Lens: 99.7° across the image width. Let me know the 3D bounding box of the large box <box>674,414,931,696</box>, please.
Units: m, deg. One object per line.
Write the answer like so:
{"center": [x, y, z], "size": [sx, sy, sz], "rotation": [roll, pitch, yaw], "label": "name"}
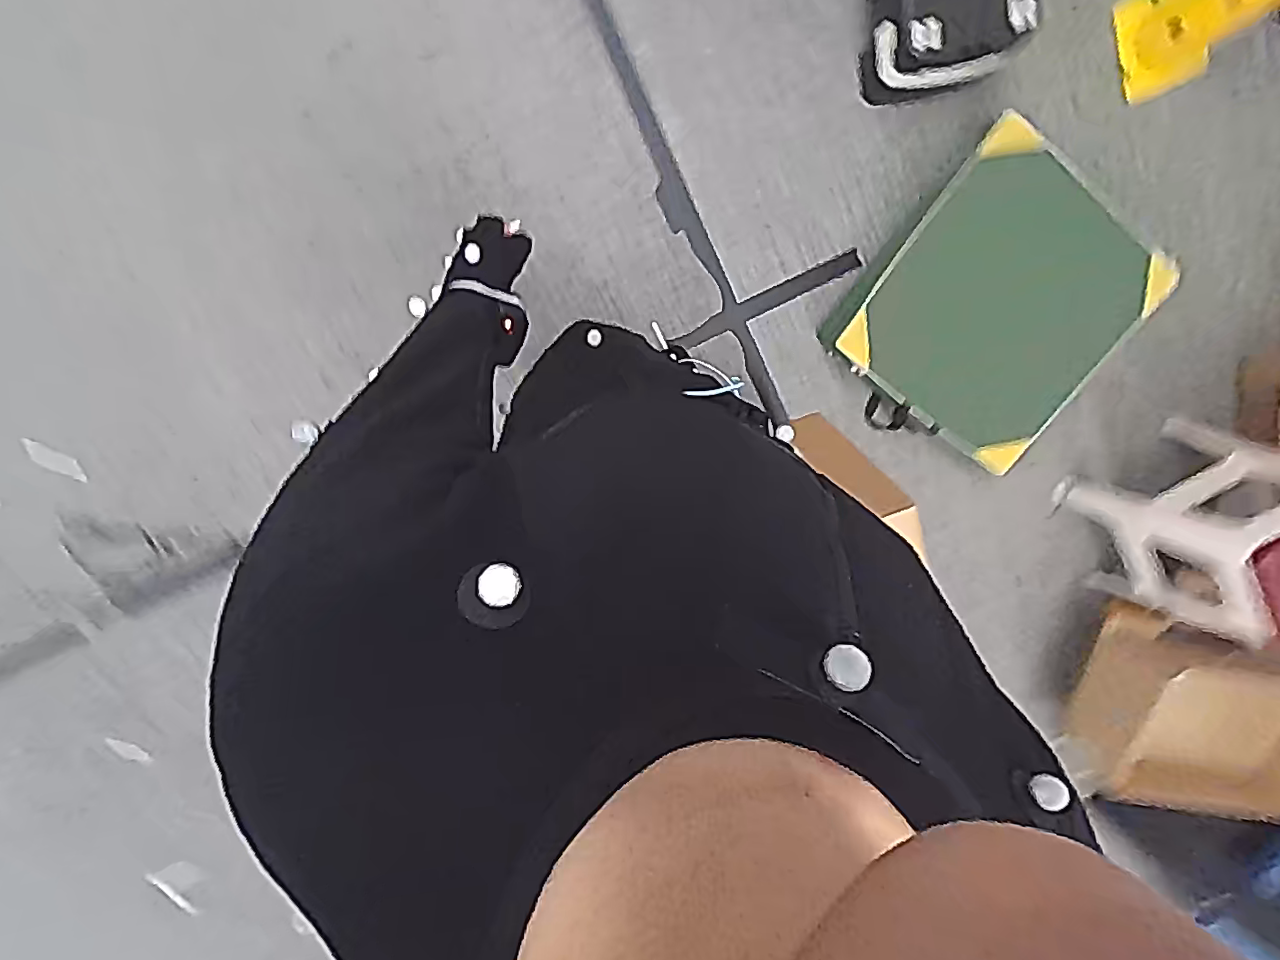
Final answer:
{"center": [0.287, 0.123, 1.046], "size": [0.320, 0.408, 0.320], "rotation": [-22, 115, 6], "label": "large box"}
